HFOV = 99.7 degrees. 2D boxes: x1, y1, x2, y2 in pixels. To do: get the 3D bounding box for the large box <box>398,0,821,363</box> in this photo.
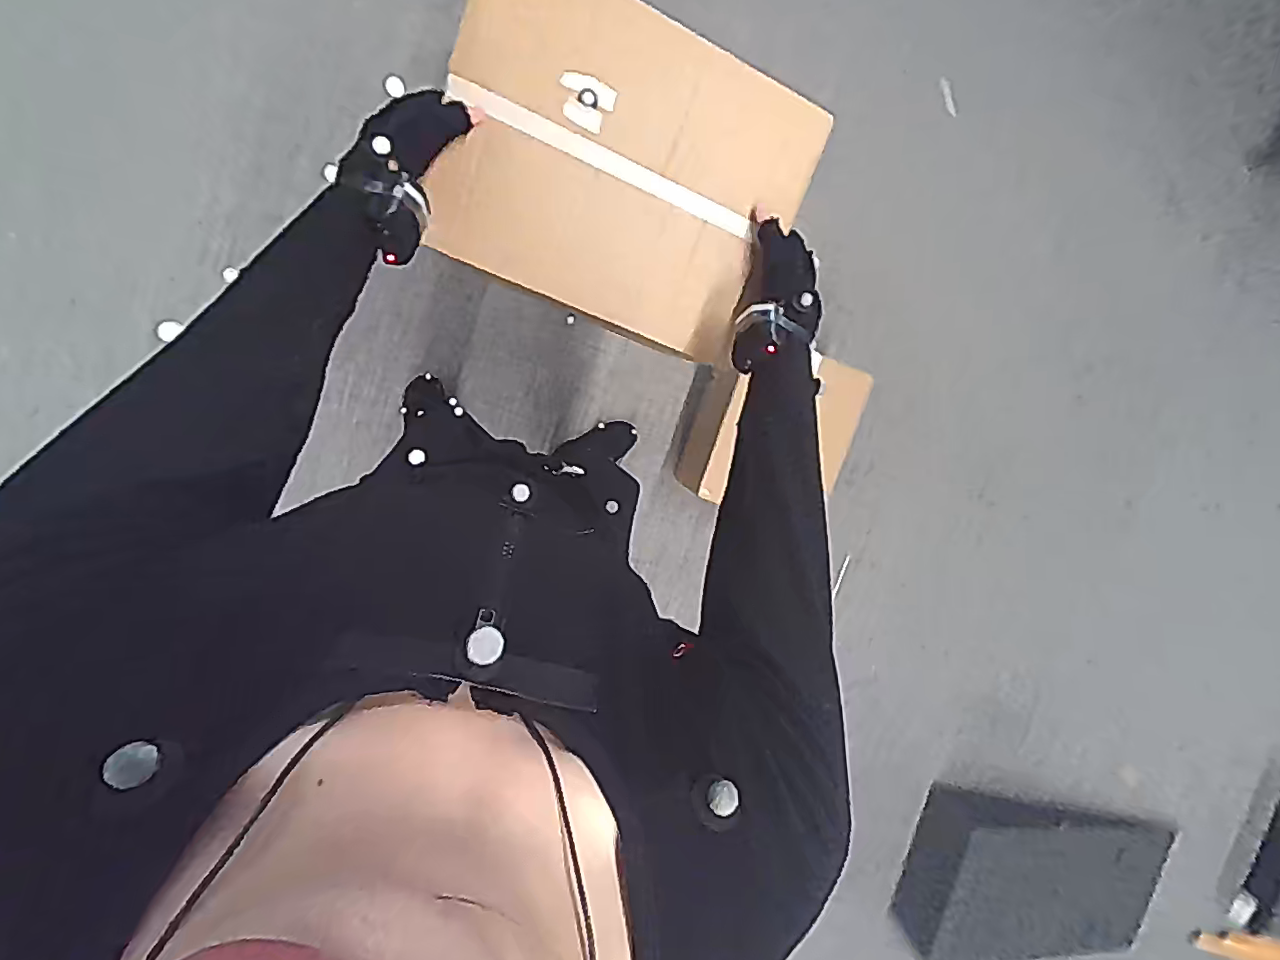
[{"bbox_3d":[-0.049,-0.380,0.736,0.408,0.320,0.320,18,102,-14],"label":"large box"}]
